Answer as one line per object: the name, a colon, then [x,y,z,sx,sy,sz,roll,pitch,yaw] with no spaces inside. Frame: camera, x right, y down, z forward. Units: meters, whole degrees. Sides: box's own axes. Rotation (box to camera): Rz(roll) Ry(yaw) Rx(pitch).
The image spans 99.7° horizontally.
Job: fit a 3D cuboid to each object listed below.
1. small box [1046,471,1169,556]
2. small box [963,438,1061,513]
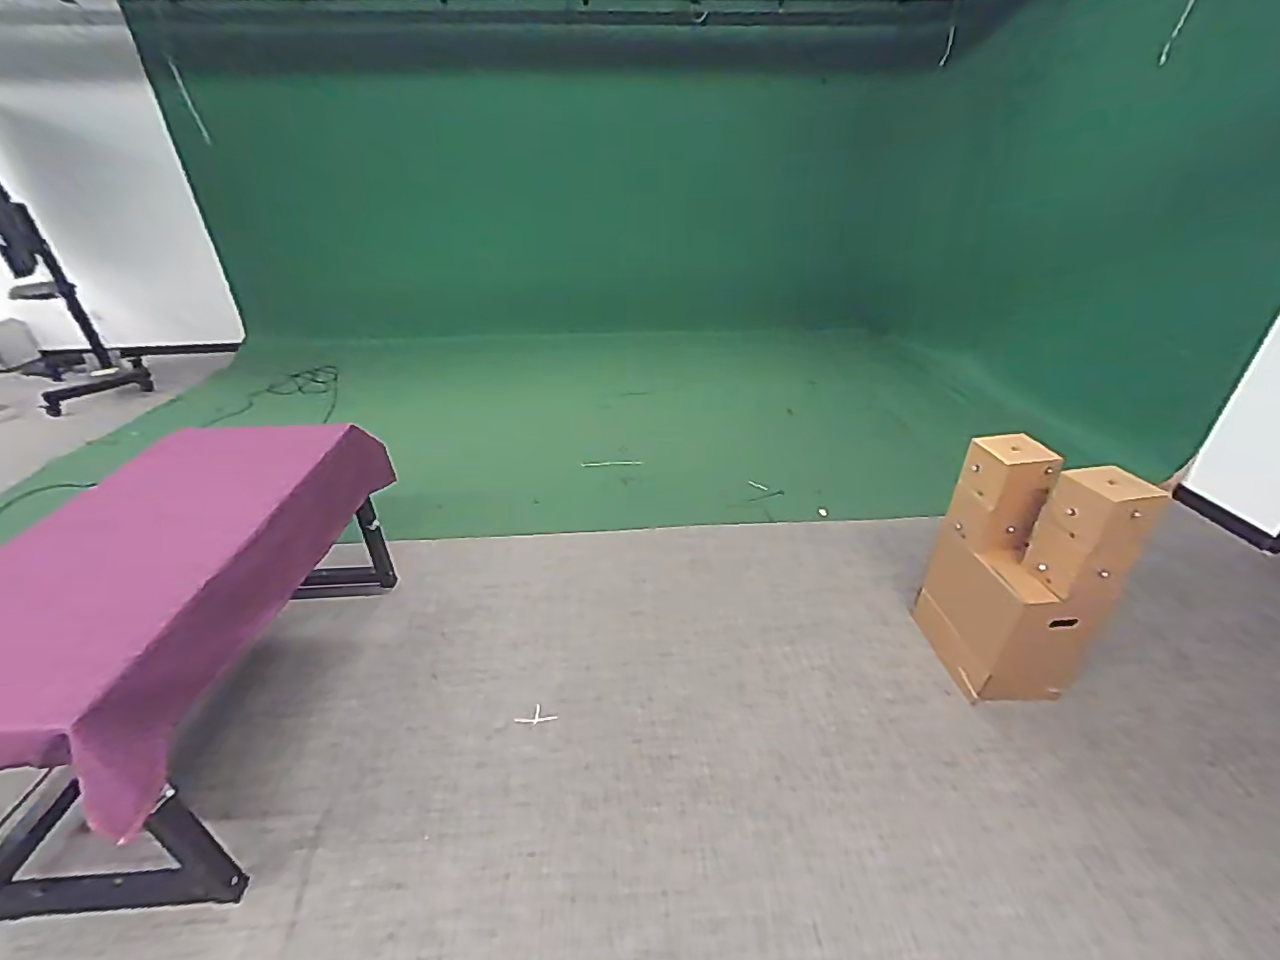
small box: [1.262,0.094,1.480,0.179,0.176,0.168,-5,31,-8]
small box: [1.126,-0.013,1.660,0.179,0.176,0.168,-6,33,-5]
